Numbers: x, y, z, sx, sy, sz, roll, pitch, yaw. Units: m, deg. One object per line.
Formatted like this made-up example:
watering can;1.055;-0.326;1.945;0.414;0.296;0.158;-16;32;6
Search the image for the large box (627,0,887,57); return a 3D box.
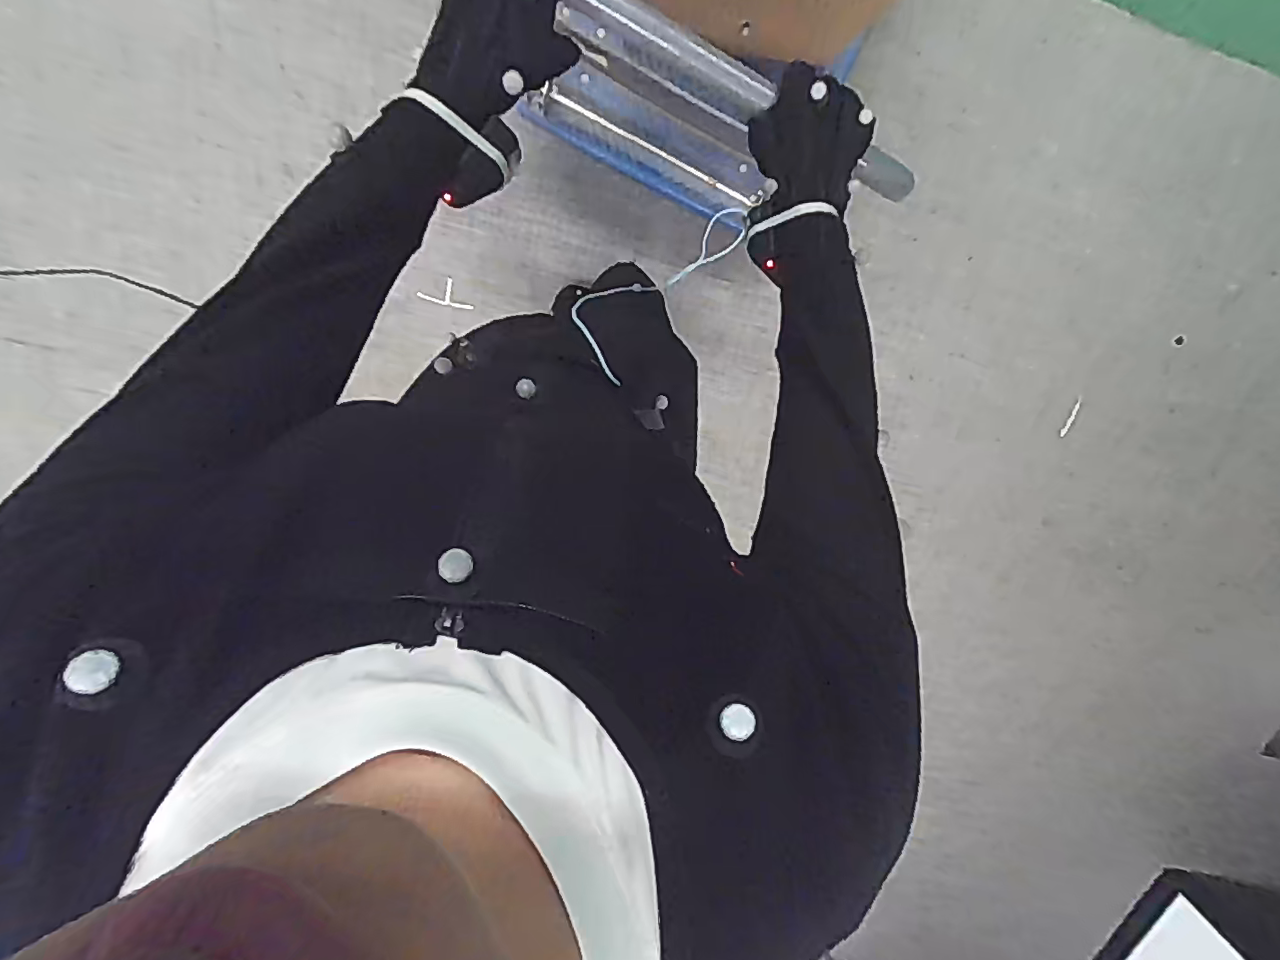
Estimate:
large box;0.190;-0.917;0.855;0.408;0.320;0.320;2;110;-4
